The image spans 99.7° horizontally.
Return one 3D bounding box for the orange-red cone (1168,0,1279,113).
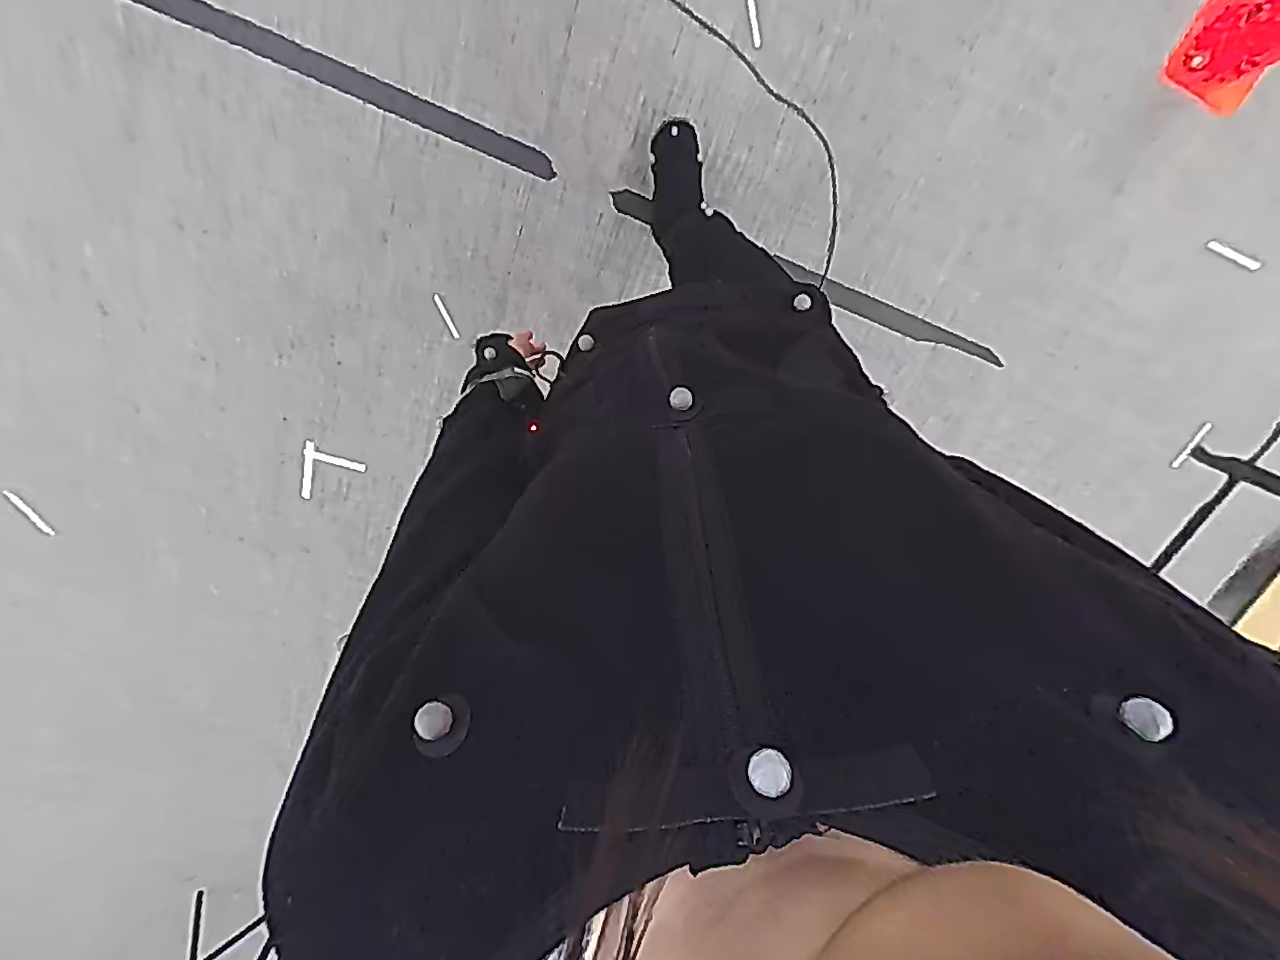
[{"bbox_3d":[1.205,-0.812,0.935,0.199,0.360,0.198,21,112,-12],"label":"orange-red cone"}]
